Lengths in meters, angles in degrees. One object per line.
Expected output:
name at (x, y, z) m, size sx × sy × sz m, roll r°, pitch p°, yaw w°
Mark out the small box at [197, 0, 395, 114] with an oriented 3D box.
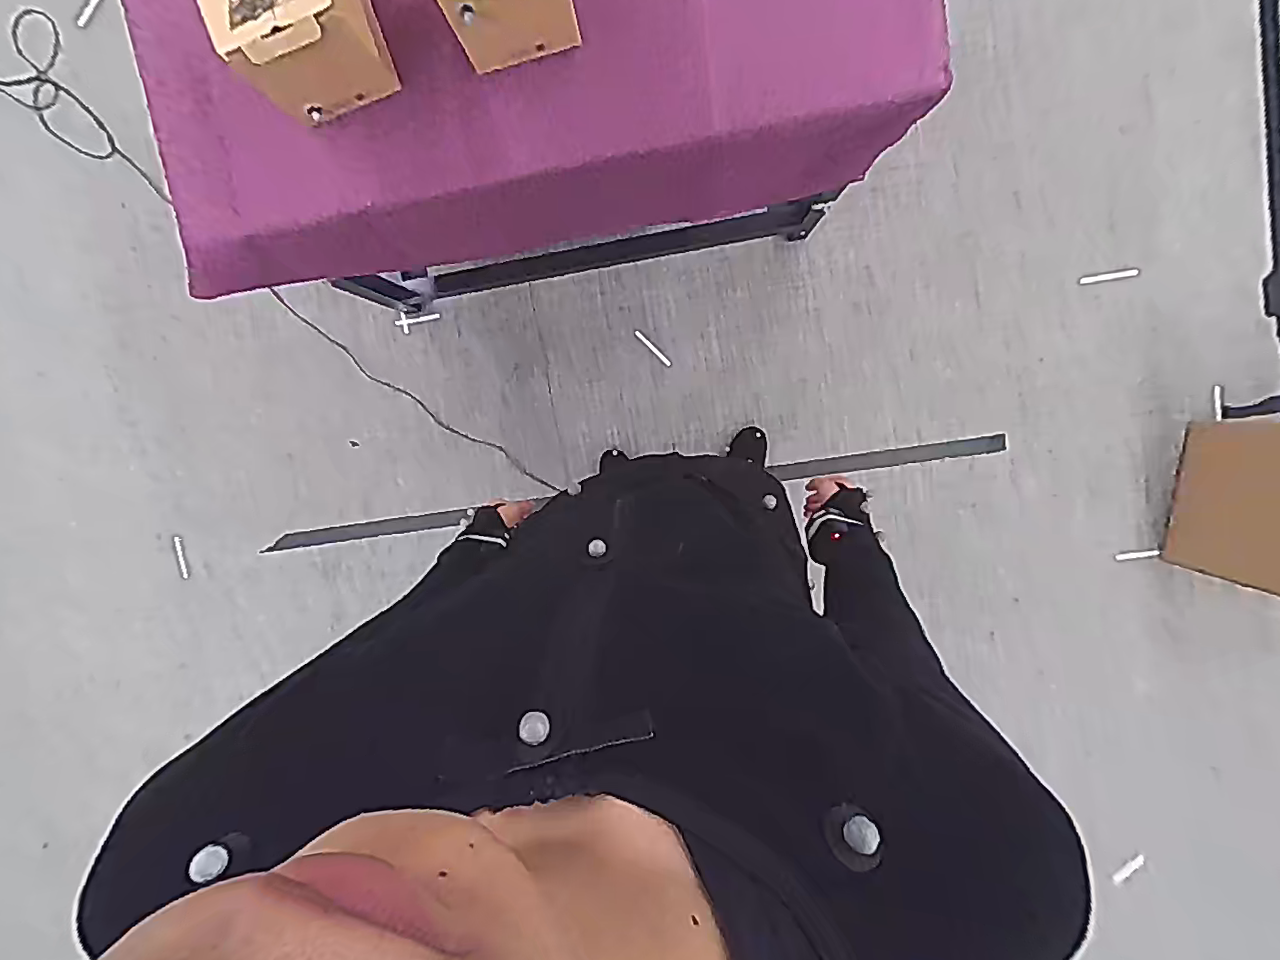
small box at (-0.470, -0.642, 0.738) m, size 0.168 × 0.176 × 0.179 m, roll -19°, pitch 95°, yaw 5°
